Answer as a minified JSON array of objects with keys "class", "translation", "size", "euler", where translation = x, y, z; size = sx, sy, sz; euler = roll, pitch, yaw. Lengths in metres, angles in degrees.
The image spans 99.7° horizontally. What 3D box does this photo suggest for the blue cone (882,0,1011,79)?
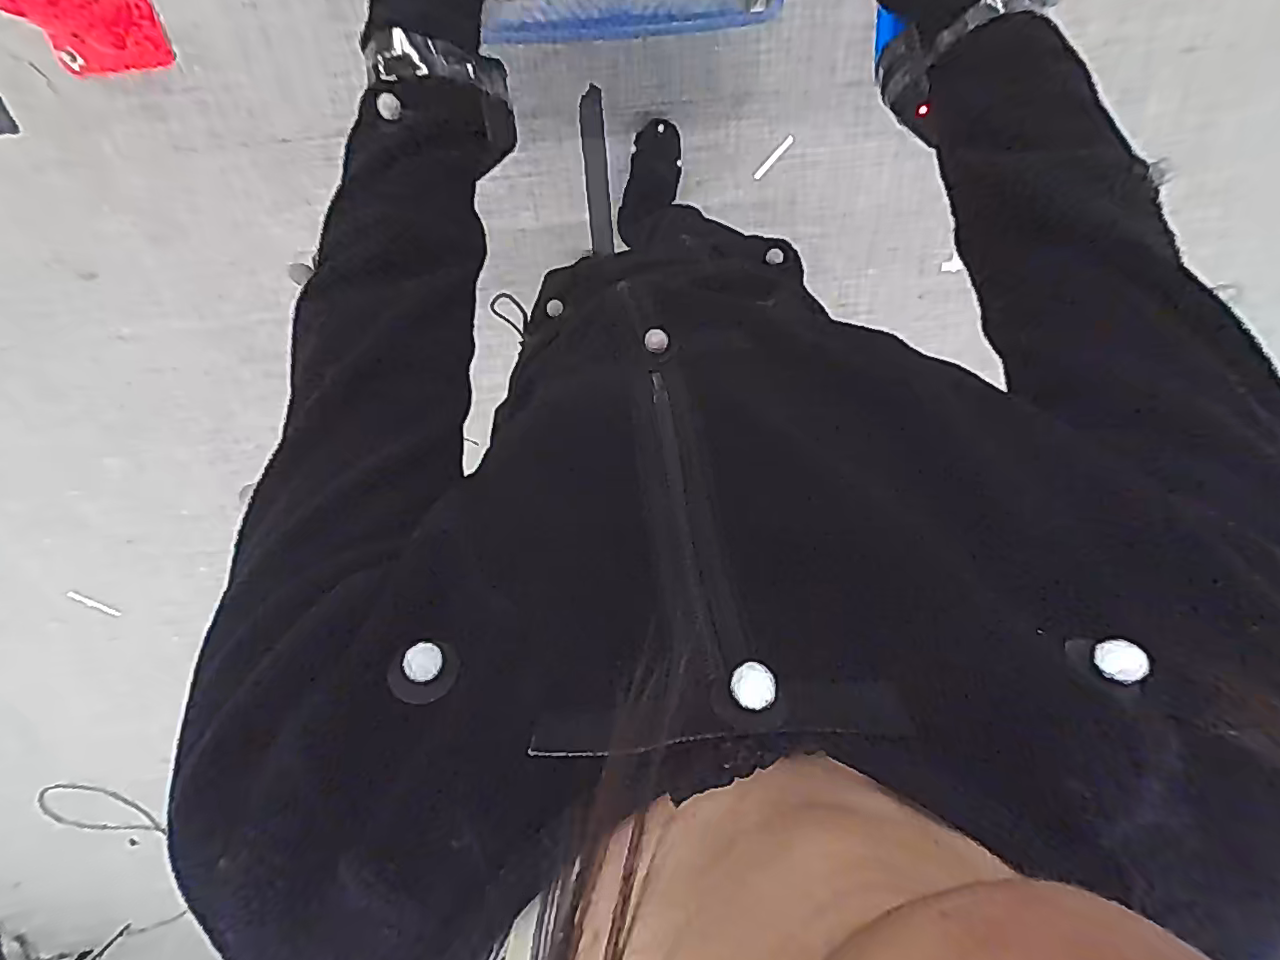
[{"class":"blue cone","translation":[0.590,-0.837,0.929],"size":[0.193,0.380,0.192],"euler":[-10,120,-1]}]
